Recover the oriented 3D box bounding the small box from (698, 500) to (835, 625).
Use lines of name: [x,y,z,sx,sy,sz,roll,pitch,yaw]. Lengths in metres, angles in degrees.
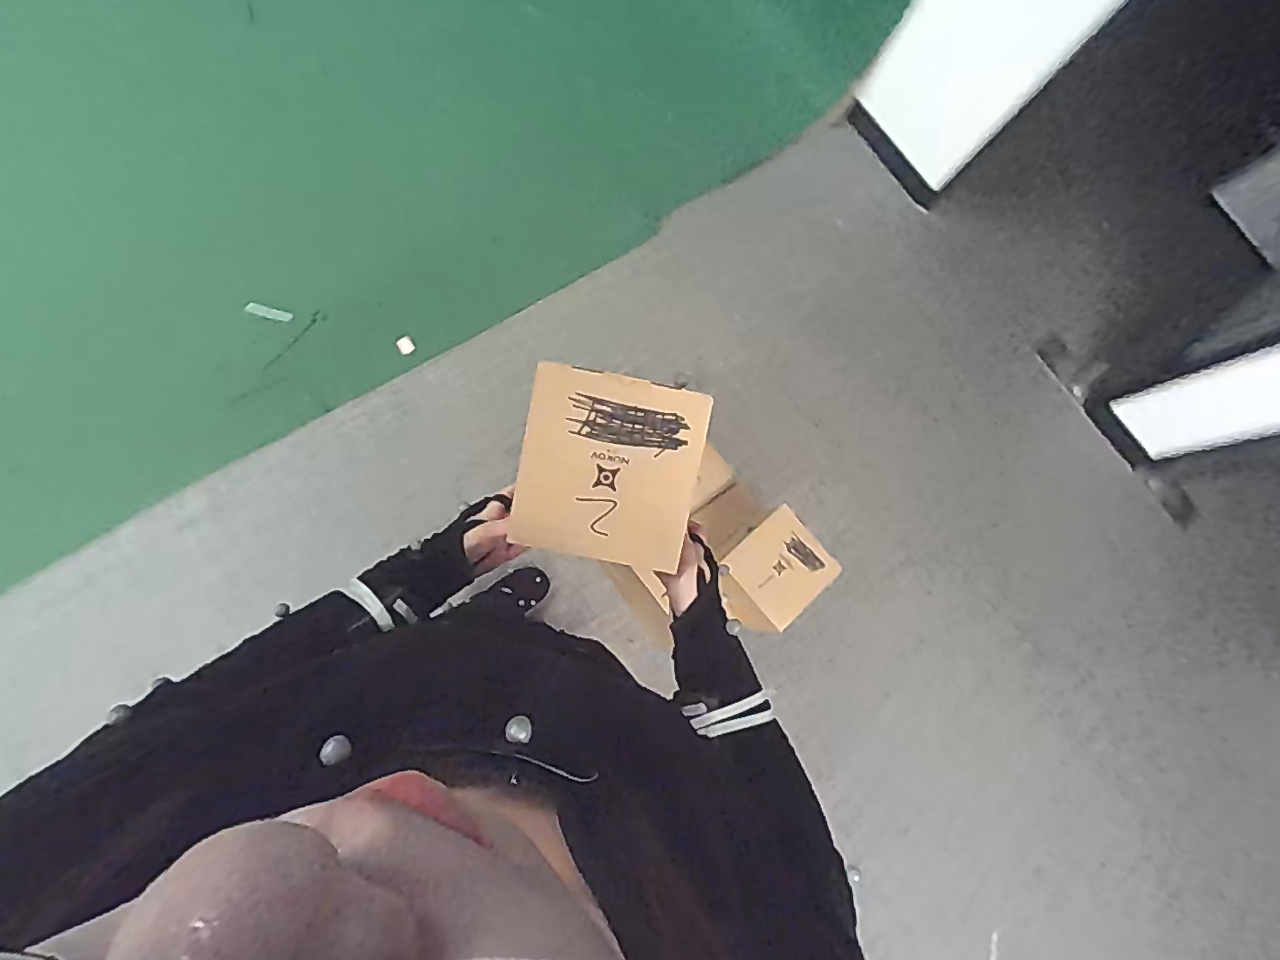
small box: [0.241,0.166,1.077,0.179,0.176,0.168,-38,86,-15]
